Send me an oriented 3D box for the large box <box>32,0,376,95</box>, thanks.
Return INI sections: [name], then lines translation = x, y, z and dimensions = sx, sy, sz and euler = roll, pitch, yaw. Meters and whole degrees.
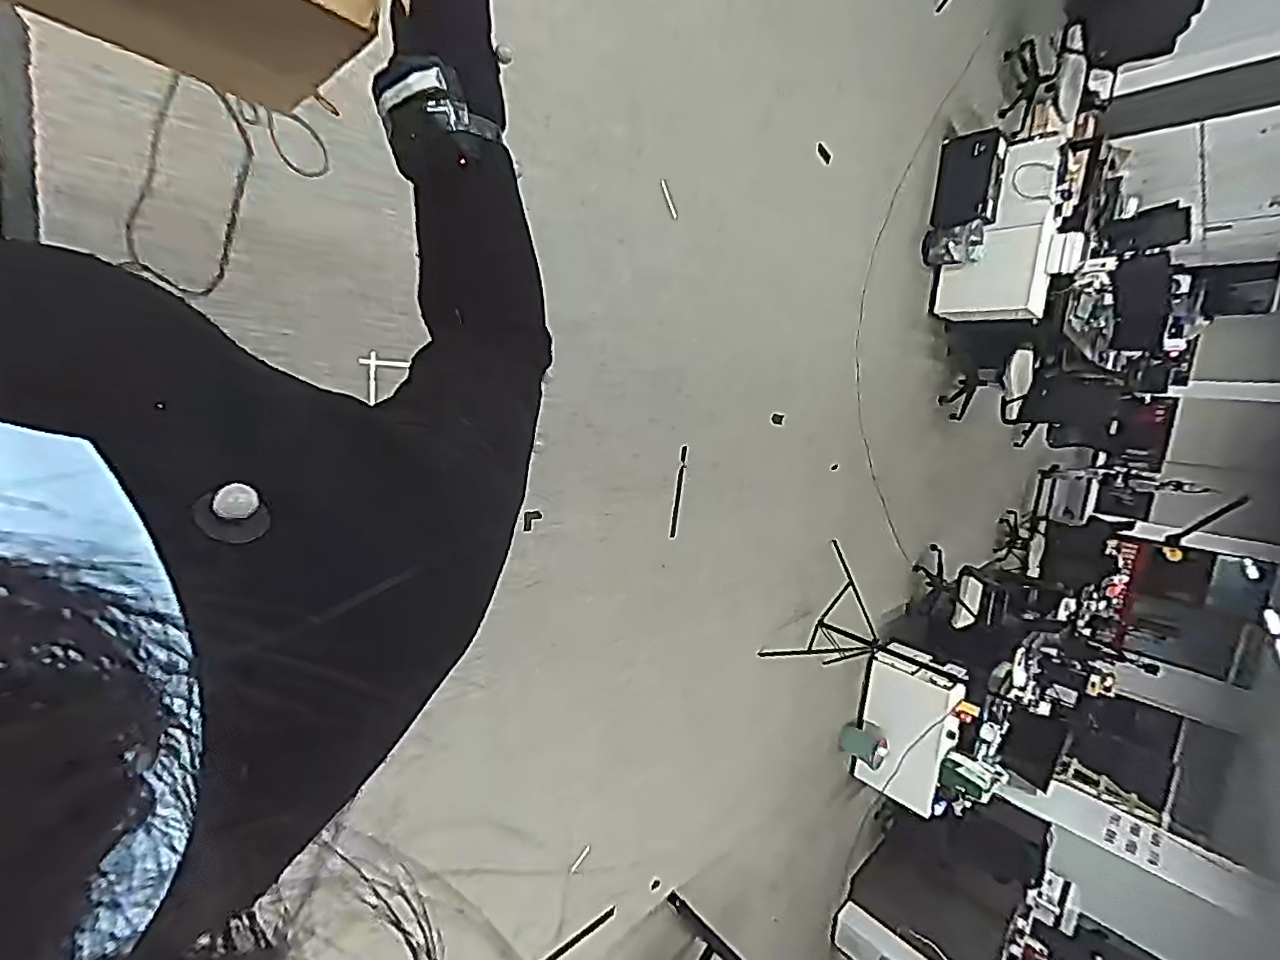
[large box]
translation = -0.404, -0.512, 0.324
dimensions = 0.408, 0.320, 0.320
euler = 0, 106, -44
